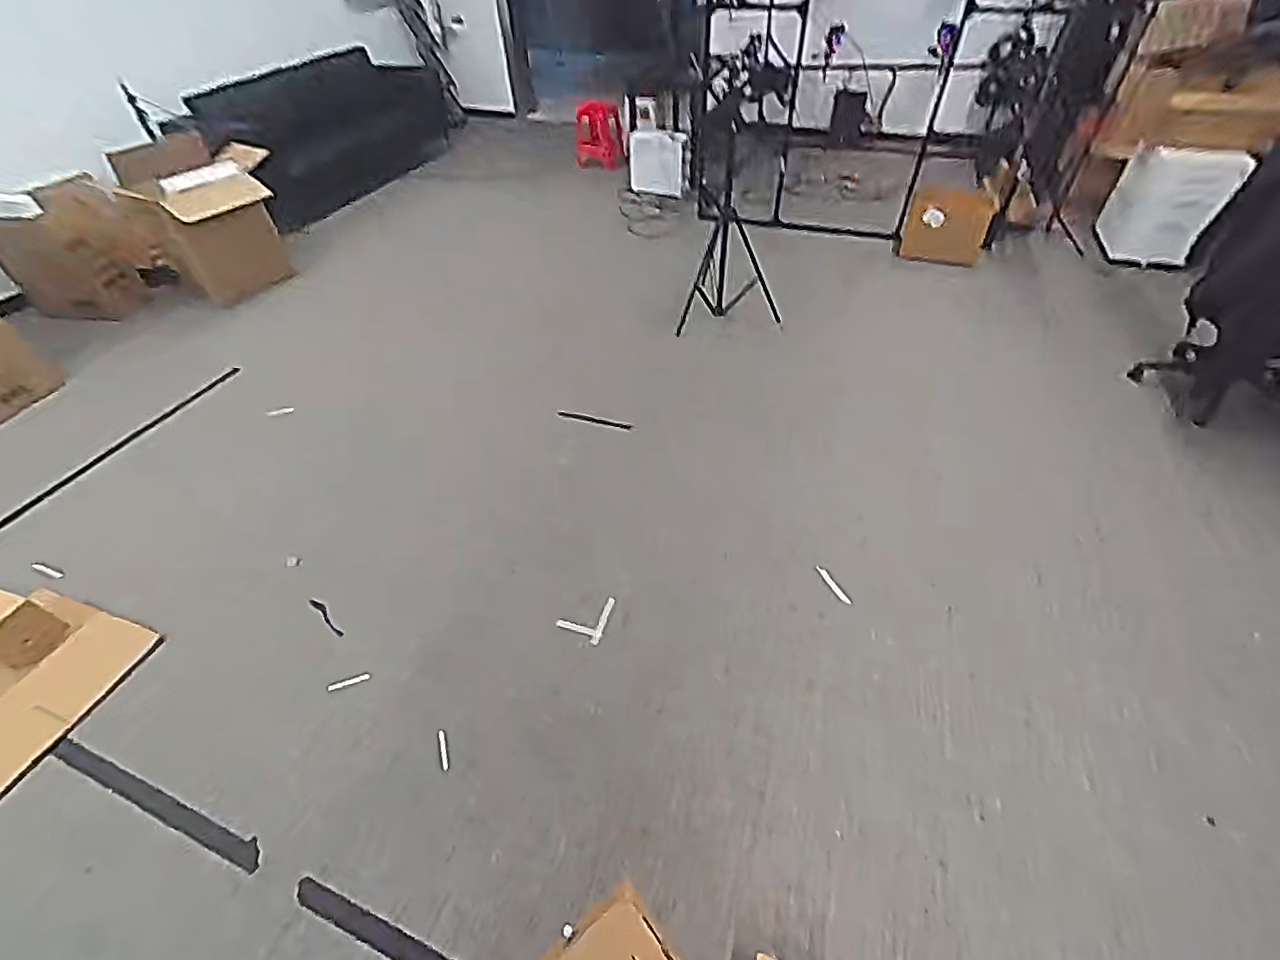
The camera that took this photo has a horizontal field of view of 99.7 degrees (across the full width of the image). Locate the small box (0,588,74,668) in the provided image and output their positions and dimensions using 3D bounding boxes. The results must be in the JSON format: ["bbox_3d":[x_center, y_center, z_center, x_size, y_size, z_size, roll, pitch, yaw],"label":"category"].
[{"bbox_3d":[-2.002,0.475,1.725,0.179,0.176,0.168,10,47,12],"label":"small box"}]

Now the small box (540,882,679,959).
[{"bbox_3d":[-0.033,0.571,0.573,0.179,0.176,0.168,-36,65,-20],"label":"small box"}]
